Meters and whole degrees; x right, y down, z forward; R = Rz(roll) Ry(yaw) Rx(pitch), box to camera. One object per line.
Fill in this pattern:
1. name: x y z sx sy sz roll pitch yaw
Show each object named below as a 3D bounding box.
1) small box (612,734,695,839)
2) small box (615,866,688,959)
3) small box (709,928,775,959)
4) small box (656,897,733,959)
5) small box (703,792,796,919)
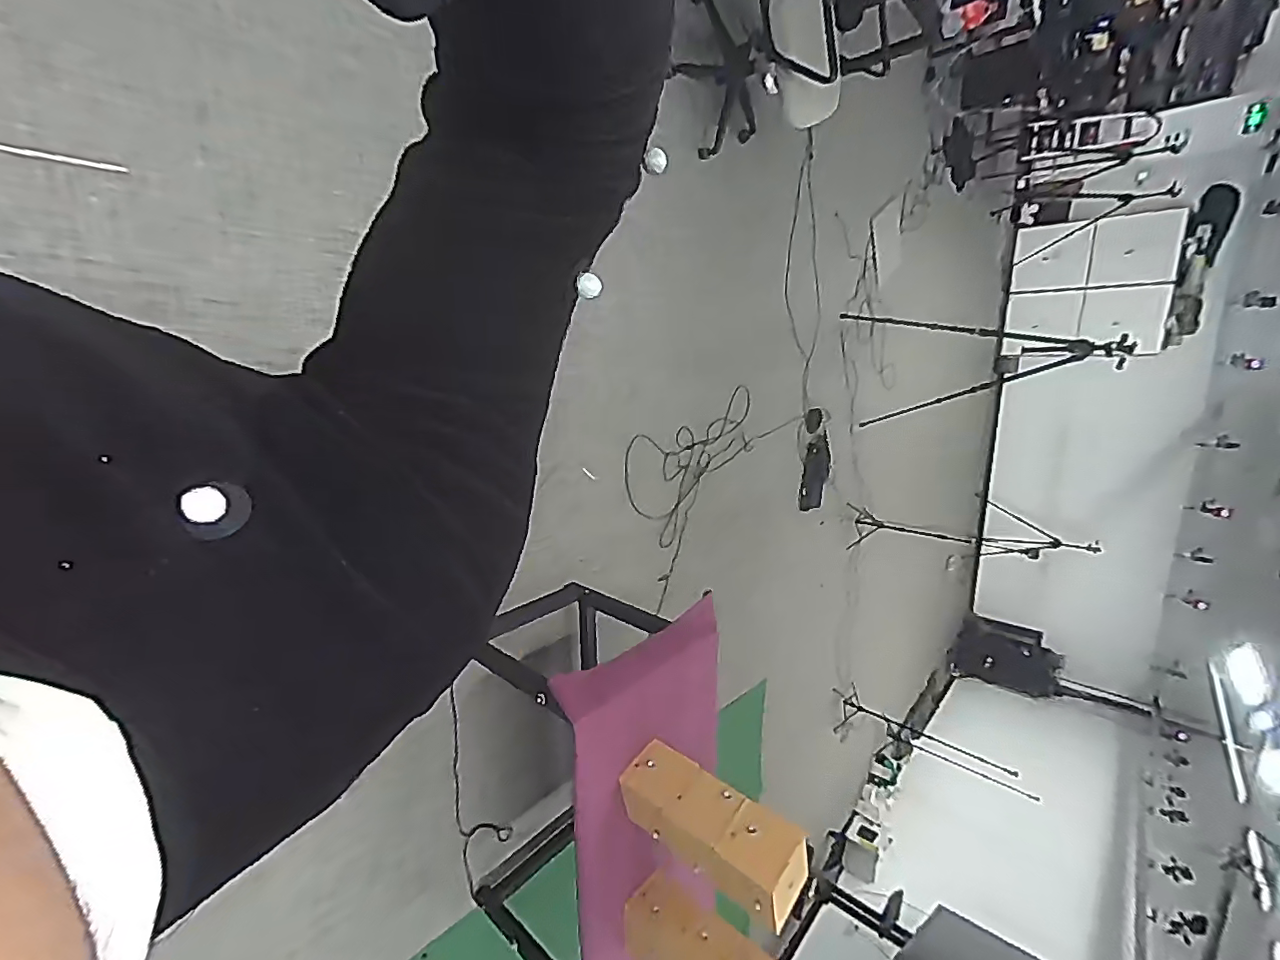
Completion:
1. small box: 0.039 0.894 1.593 0.168 0.176 0.179 -32 121 -42
2. small box: 0.034 1.359 1.693 0.168 0.176 0.179 -12 107 -48
3. small box: 0.285 1.405 1.486 0.168 0.176 0.179 -15 109 -47
4. small box: 0.159 1.382 1.590 0.168 0.176 0.179 -13 107 -47
5. small box: 0.280 0.947 1.380 0.168 0.176 0.179 -33 122 -40
